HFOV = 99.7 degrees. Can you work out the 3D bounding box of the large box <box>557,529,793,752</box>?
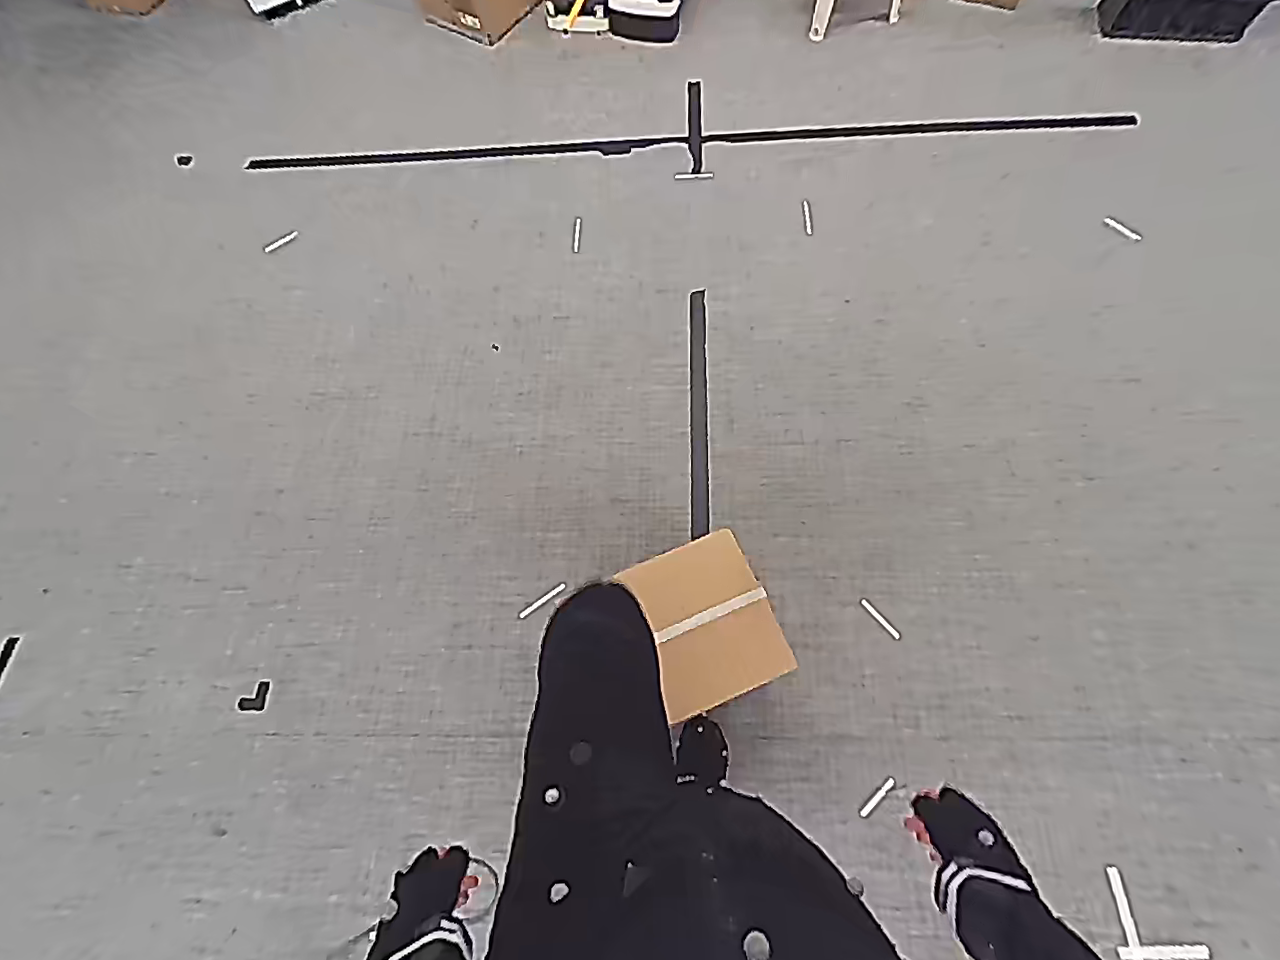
[{"bbox_3d":[0.073,0.361,1.233,0.408,0.320,0.320,-23,69,-5],"label":"large box"}]
